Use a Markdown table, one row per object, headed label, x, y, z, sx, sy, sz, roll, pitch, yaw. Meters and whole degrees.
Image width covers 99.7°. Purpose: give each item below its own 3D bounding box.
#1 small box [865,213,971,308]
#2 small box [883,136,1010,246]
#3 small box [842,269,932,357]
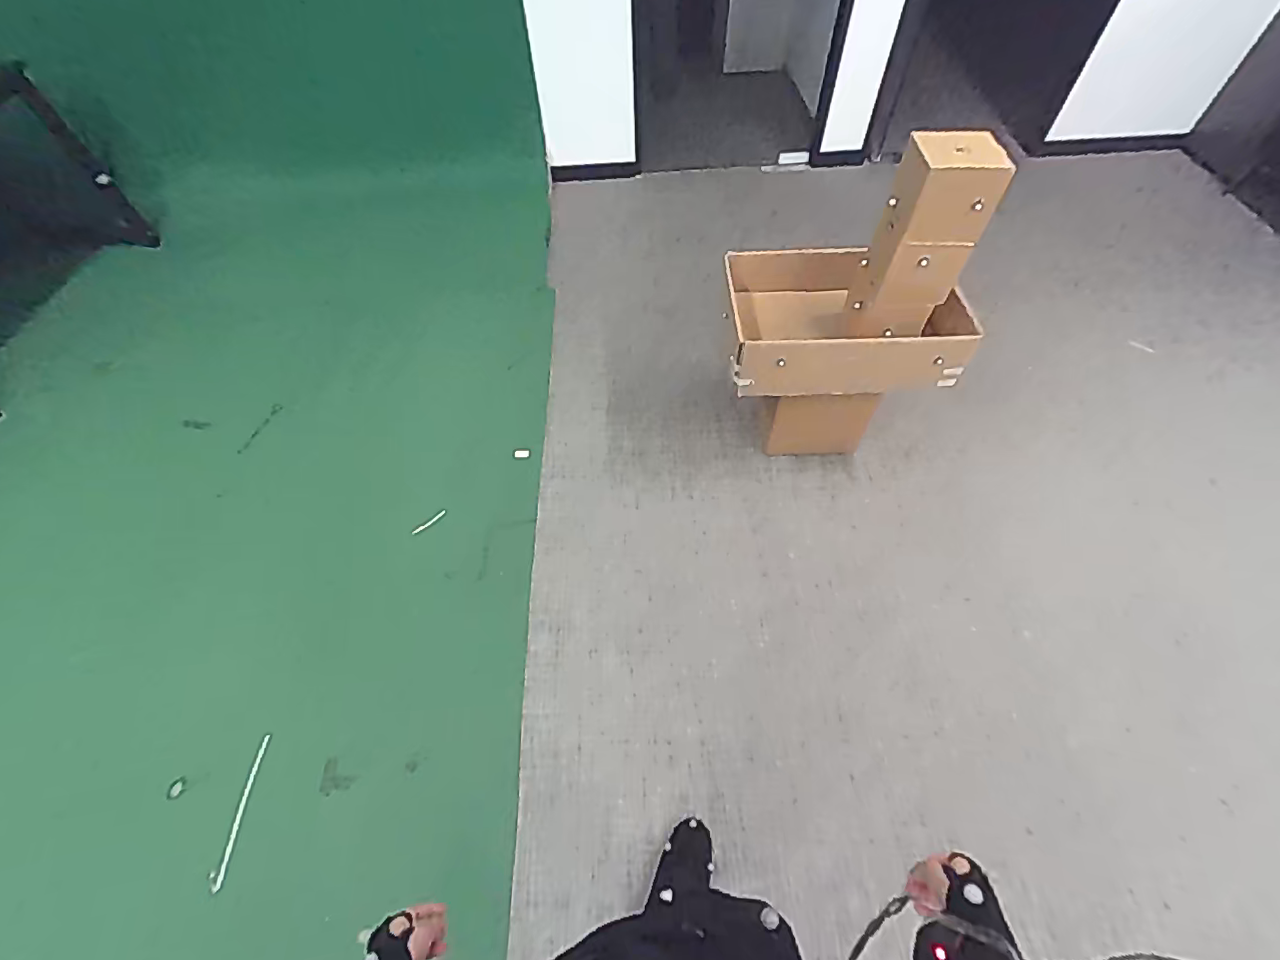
| label | x | y | z | sx | sy | sz | roll | pitch | yaw |
| --- | --- | --- | --- | --- | --- | --- | --- | --- | --- |
| small box | 0.680 | -0.549 | 1.354 | 0.179 | 0.176 | 0.168 | 1 | 55 | 2 |
| small box | 0.682 | -0.650 | 1.226 | 0.179 | 0.176 | 0.168 | 1 | 54 | 2 |
| small box | 0.670 | -0.457 | 1.490 | 0.168 | 0.176 | 0.179 | 2 | 55 | 3 |
